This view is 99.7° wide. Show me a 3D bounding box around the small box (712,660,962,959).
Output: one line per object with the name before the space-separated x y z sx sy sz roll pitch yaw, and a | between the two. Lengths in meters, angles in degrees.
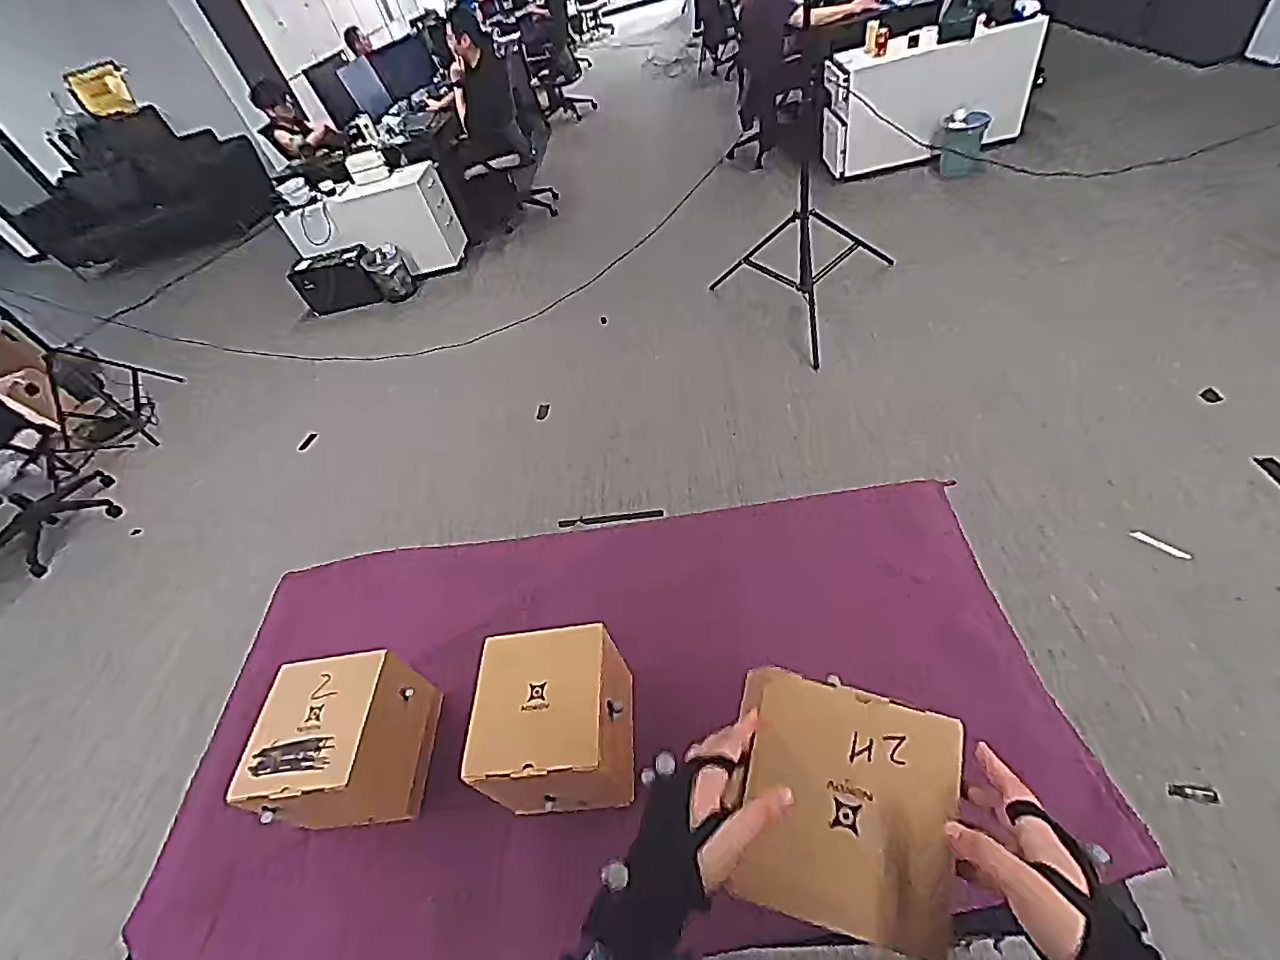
small box | 0.170 0.287 0.512 0.168 0.176 0.179 17 71 10

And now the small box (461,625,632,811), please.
small box | -0.109 0.317 0.717 0.168 0.176 0.179 -10 47 8
